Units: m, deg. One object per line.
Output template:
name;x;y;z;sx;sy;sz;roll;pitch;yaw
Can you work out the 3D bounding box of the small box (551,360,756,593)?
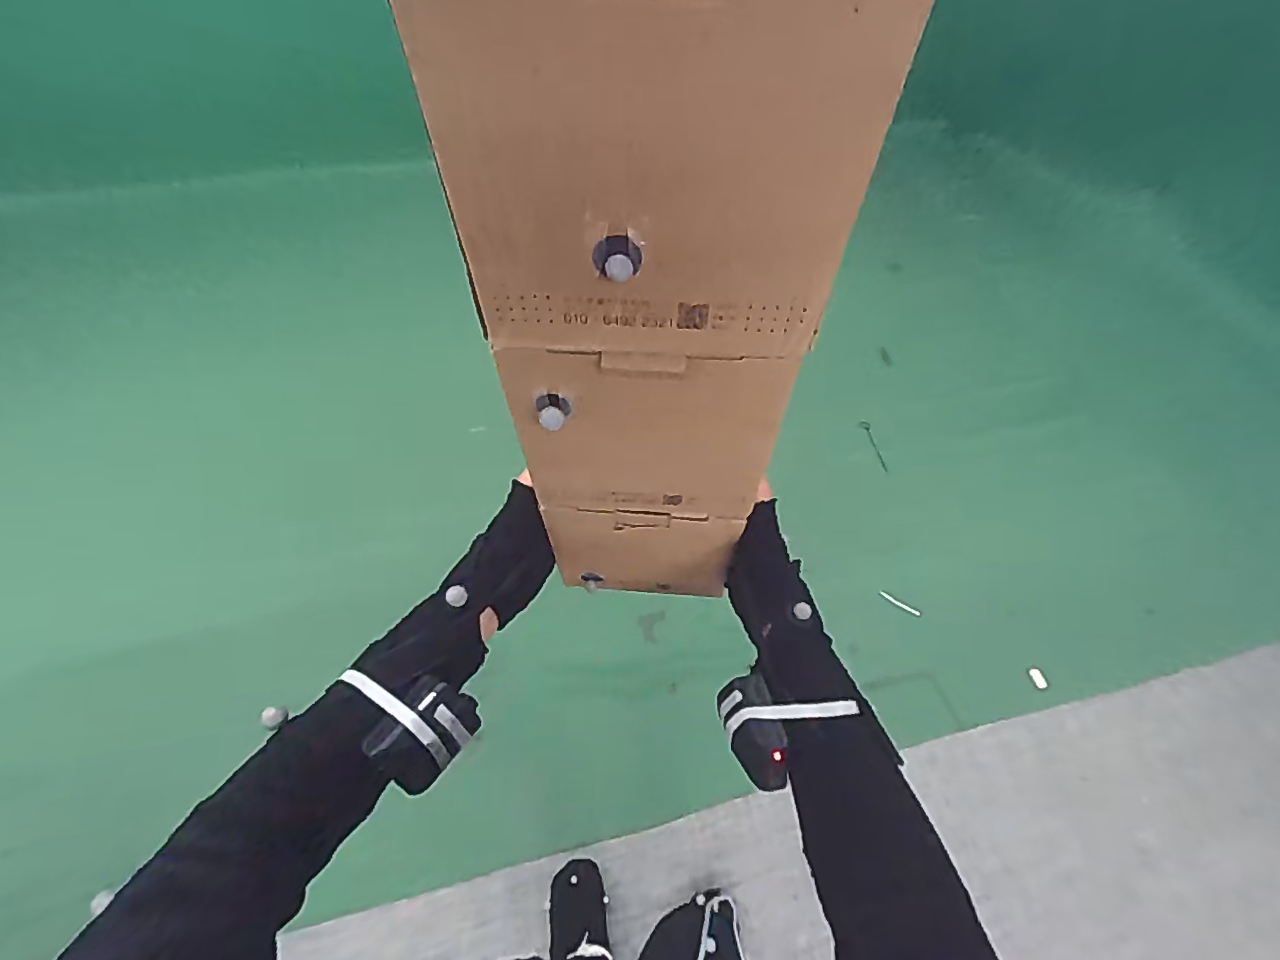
small box;0.015;0.003;0.534;0.168;0.176;0.179;1;59;1
